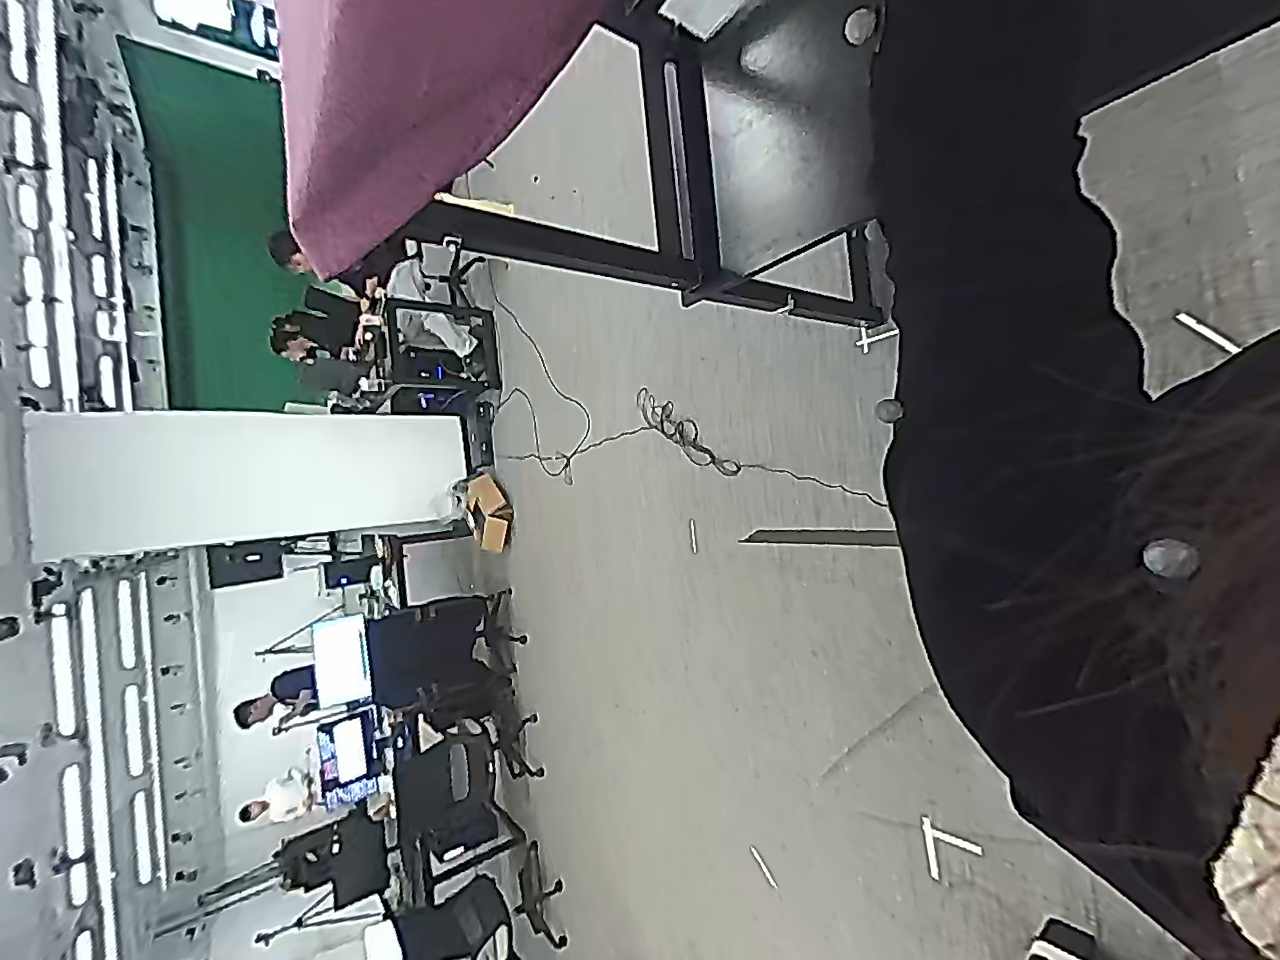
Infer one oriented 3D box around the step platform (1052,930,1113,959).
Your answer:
[{"bbox_3d":[1.157,1.221,0.994,0.684,0.204,0.286,2,95,53],"label":"step platform"}]
